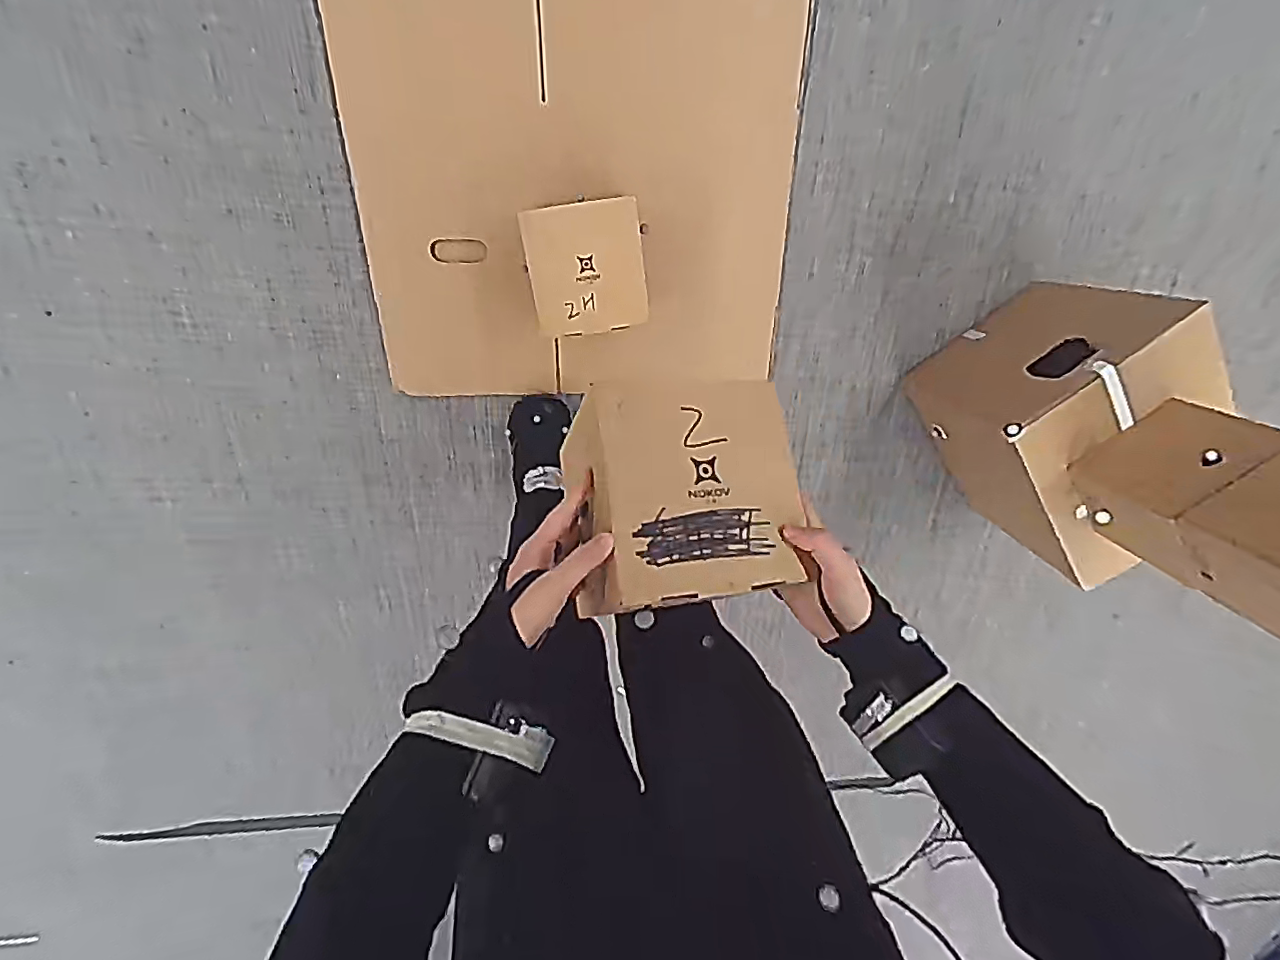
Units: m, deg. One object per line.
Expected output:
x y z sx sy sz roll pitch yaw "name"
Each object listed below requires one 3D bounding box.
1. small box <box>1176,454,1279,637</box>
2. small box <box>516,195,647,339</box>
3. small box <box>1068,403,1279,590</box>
0.806 0.083 0.635 0.179 0.176 0.168 -38 114 10 "small box"
-0.086 -0.331 0.838 0.168 0.176 0.179 -8 116 0 "small box"
0.785 0.015 0.783 0.179 0.176 0.168 -38 114 11 "small box"
